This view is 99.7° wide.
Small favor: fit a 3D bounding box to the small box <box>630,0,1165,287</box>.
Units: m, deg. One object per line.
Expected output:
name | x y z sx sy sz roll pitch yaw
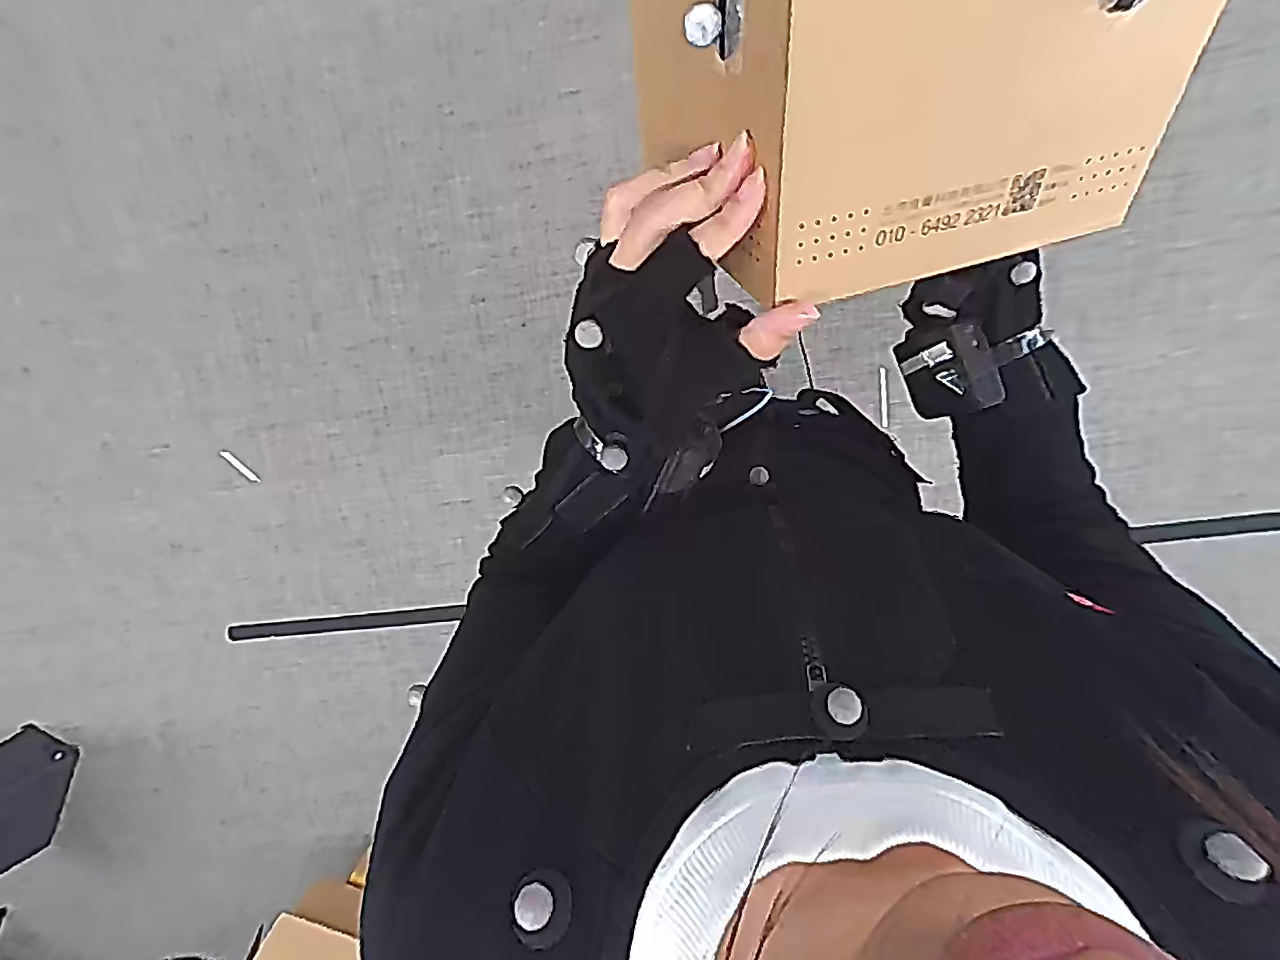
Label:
small box | 0.097 -0.204 0.247 0.168 0.179 0.176 -16 133 -8
